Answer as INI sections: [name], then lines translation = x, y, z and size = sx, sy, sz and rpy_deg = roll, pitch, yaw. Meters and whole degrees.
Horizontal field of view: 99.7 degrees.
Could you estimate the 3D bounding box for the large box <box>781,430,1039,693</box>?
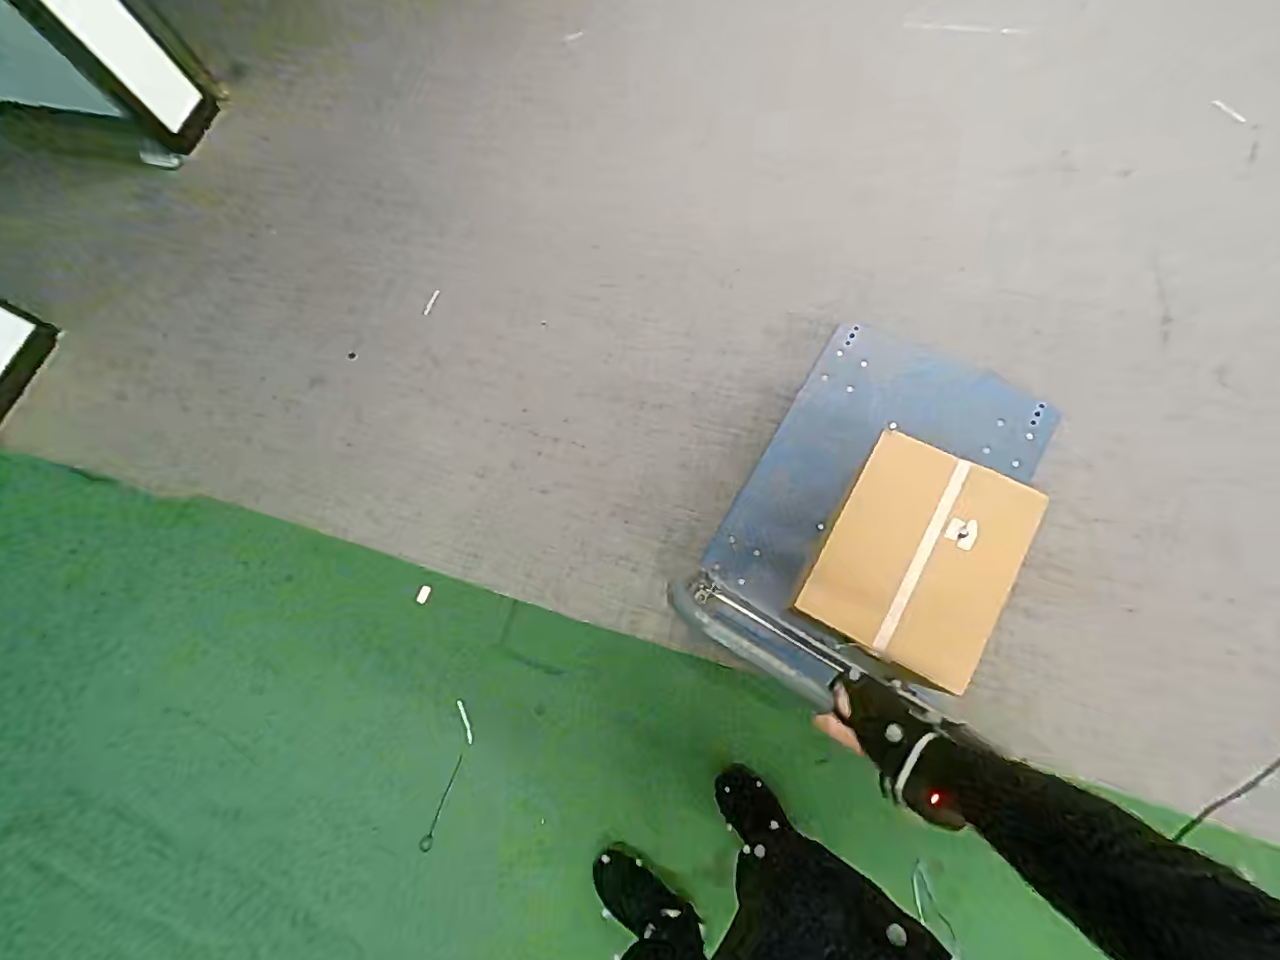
[large box]
translation = 0.531, 0.175, 1.139
size = 0.320, 0.320, 0.408
rpy_deg = 28, 81, 15
